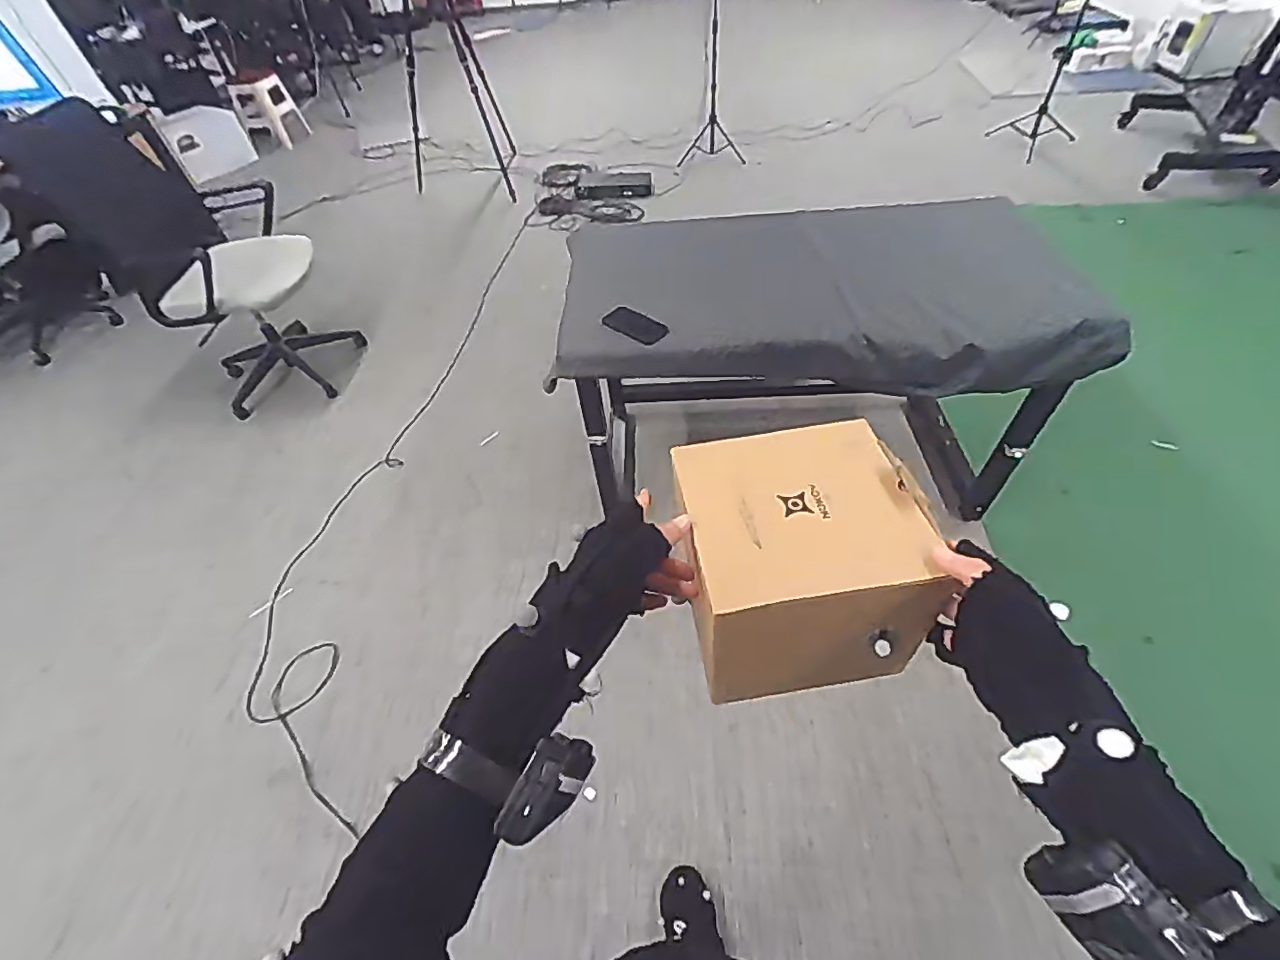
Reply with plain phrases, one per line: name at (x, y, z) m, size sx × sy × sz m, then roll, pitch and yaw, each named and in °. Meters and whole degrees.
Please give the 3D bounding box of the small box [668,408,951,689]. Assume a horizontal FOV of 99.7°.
small box at (0.126, 0.064, 0.478) m, size 0.179 × 0.176 × 0.168 m, roll -10°, pitch 47°, yaw -1°
